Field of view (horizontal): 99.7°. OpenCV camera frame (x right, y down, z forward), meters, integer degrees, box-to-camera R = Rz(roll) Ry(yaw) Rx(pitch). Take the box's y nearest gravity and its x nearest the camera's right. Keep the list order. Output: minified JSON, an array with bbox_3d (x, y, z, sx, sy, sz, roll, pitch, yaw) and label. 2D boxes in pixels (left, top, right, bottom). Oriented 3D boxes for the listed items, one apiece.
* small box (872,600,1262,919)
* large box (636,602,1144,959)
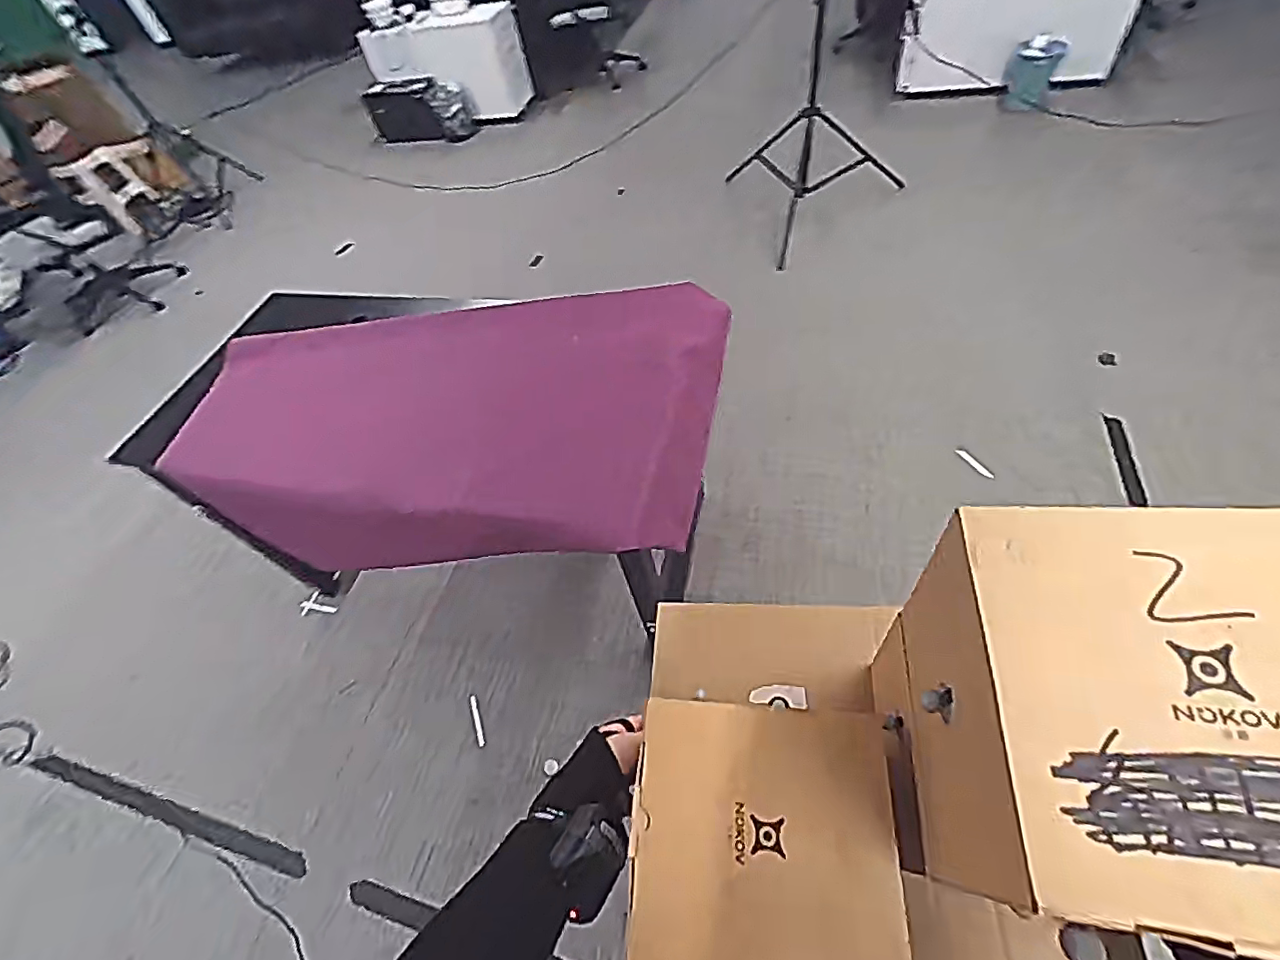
[{"bbox_3d":[0.285,0.208,0.421,0.168,0.176,0.179,-2,58,15],"label":"small box"},{"bbox_3d":[0.231,0.349,0.642,0.408,0.320,0.320,-4,56,12],"label":"large box"}]
